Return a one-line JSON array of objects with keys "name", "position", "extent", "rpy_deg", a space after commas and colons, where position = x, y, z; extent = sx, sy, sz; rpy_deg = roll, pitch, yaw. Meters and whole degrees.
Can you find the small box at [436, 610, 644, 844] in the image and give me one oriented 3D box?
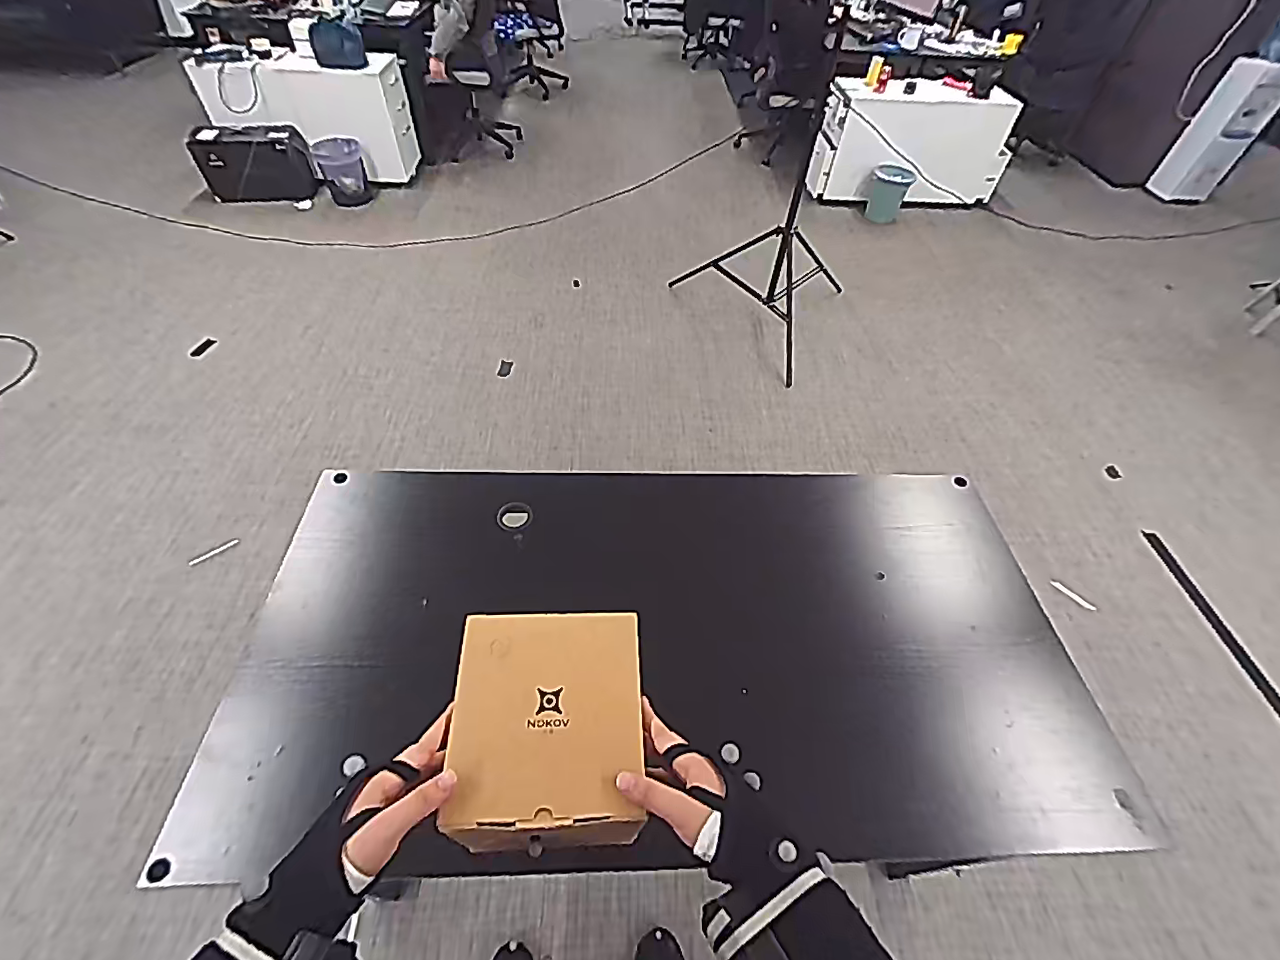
[{"name": "small box", "position": [-0.088, 0.246, 0.538], "extent": [0.168, 0.176, 0.179], "rpy_deg": [0, 52, -5]}]
